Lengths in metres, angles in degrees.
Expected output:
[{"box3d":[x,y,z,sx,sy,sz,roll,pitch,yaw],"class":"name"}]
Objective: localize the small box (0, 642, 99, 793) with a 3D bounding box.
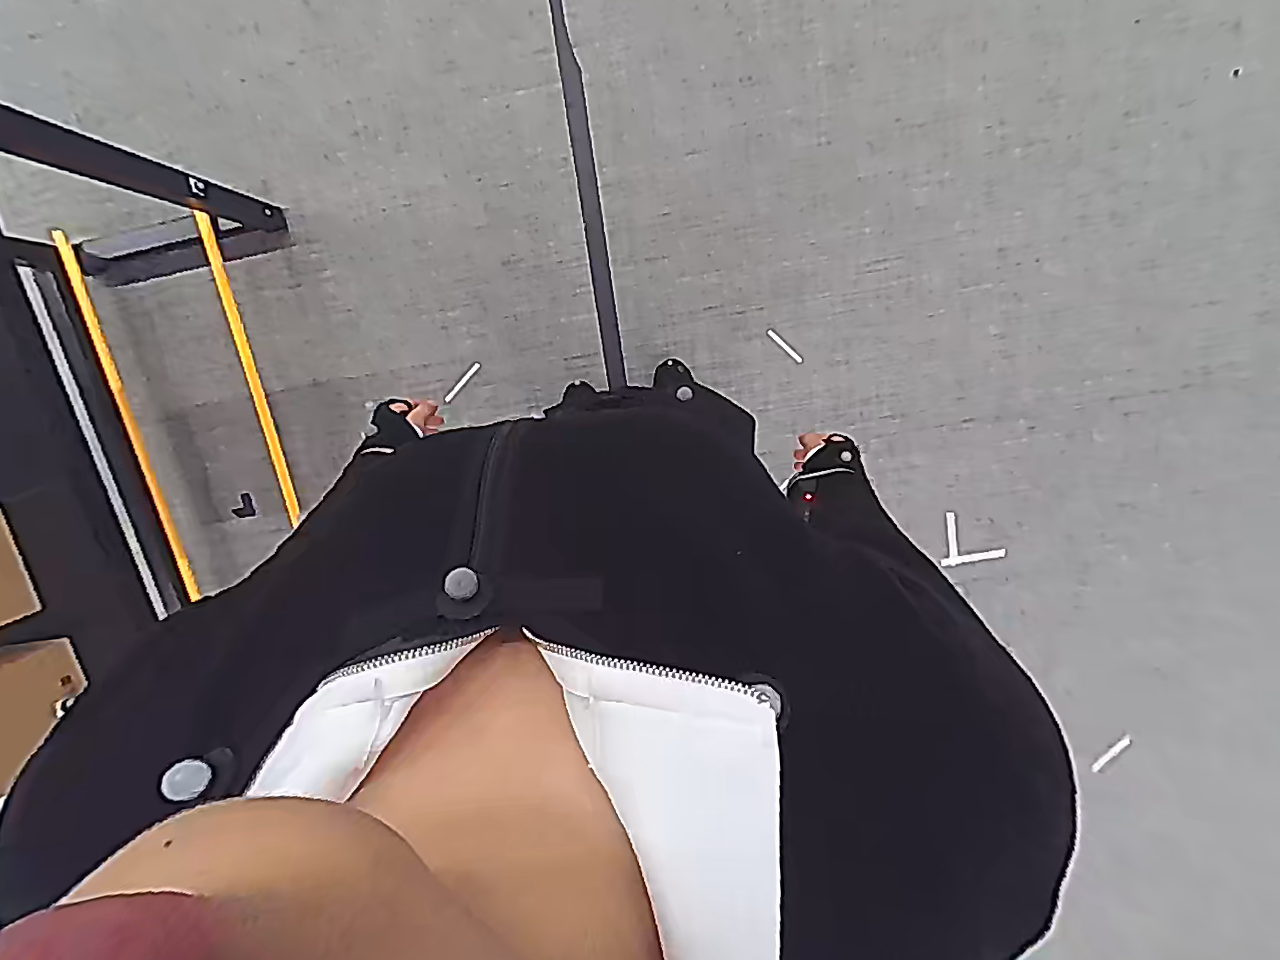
[{"box3d":[-0.961,0.355,0.777,0.179,0.176,0.168,-9,104,4],"class":"small box"}]
